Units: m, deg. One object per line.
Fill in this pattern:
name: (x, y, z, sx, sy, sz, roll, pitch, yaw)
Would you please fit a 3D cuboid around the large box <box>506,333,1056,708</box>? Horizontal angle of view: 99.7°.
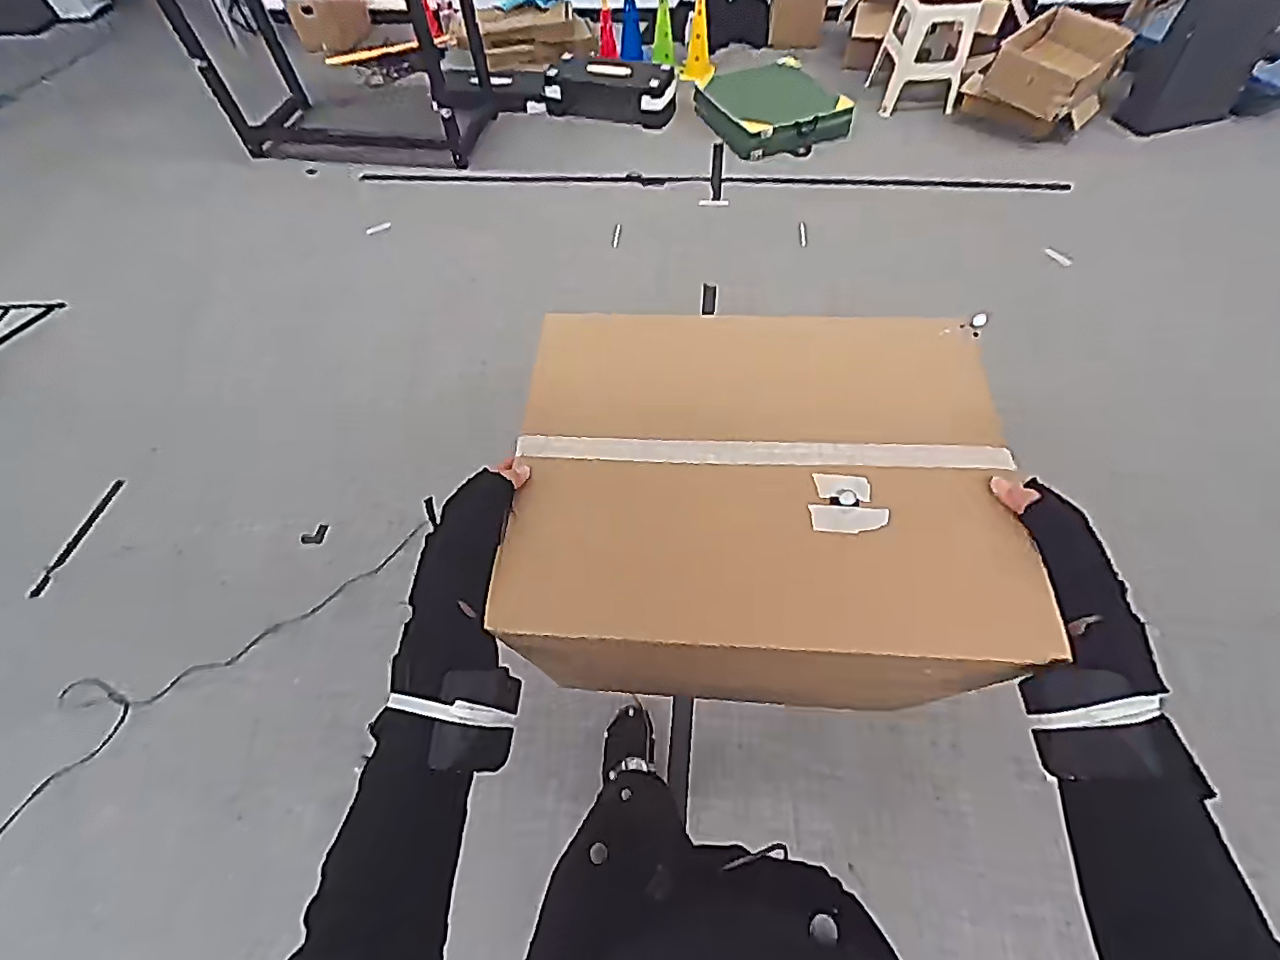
large box: (0.108, 0.061, 0.589, 0.408, 0.320, 0.320, 2, 63, 4)
